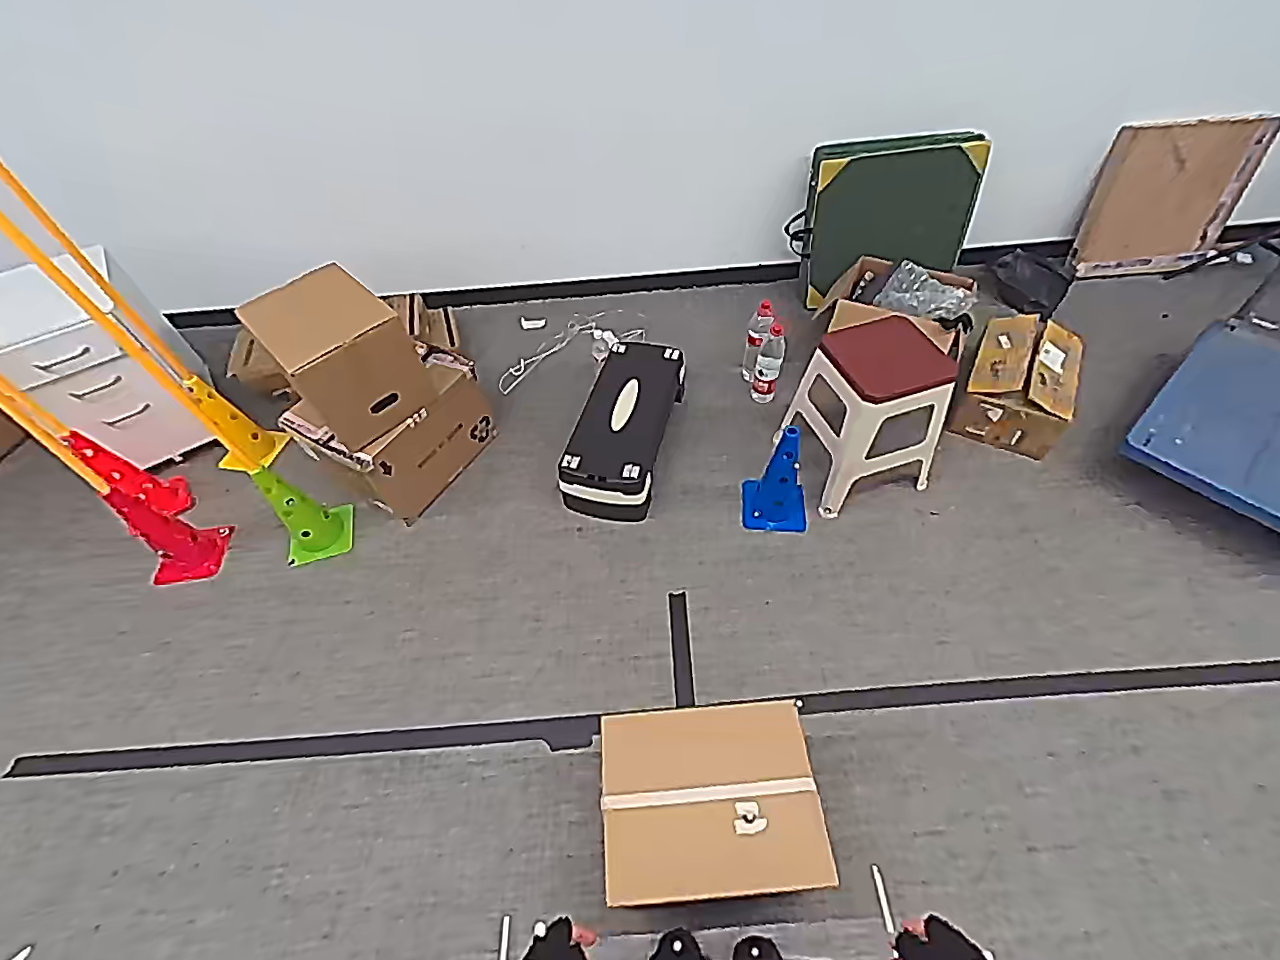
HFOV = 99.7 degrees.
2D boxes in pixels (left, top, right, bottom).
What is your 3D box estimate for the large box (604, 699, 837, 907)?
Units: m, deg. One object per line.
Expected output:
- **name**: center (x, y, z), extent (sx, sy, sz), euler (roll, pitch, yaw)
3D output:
- **large box**: center (0.139, 0.684, 1.140), extent (0.408, 0.320, 0.320), euler (-5, 52, -1)
